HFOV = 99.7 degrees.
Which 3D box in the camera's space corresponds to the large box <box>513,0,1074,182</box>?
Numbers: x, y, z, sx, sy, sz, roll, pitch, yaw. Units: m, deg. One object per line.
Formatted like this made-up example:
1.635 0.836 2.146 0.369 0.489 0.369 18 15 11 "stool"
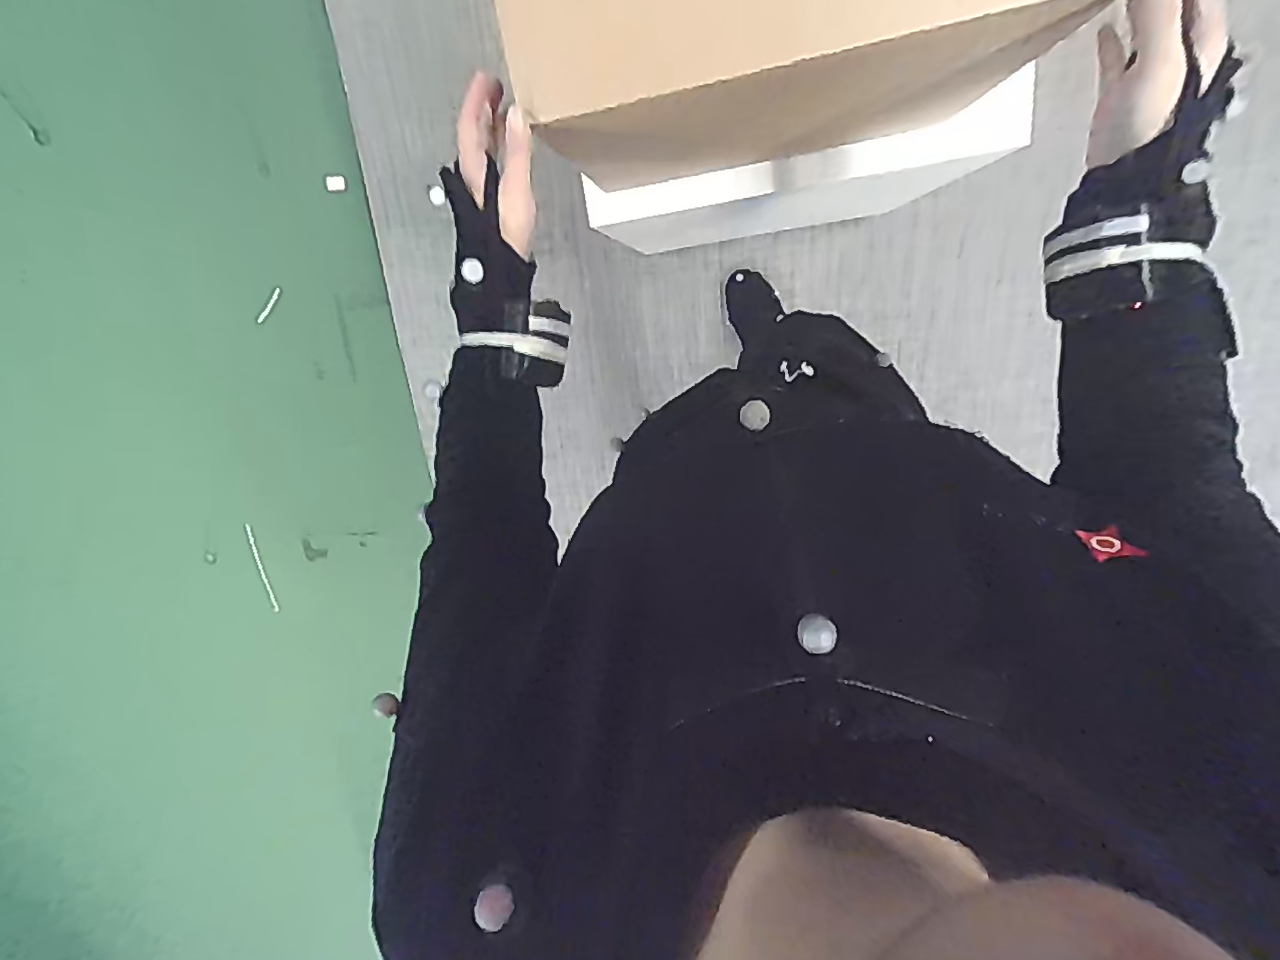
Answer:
0.105 -0.484 0.451 0.408 0.320 0.320 -7 109 9 "large box"
